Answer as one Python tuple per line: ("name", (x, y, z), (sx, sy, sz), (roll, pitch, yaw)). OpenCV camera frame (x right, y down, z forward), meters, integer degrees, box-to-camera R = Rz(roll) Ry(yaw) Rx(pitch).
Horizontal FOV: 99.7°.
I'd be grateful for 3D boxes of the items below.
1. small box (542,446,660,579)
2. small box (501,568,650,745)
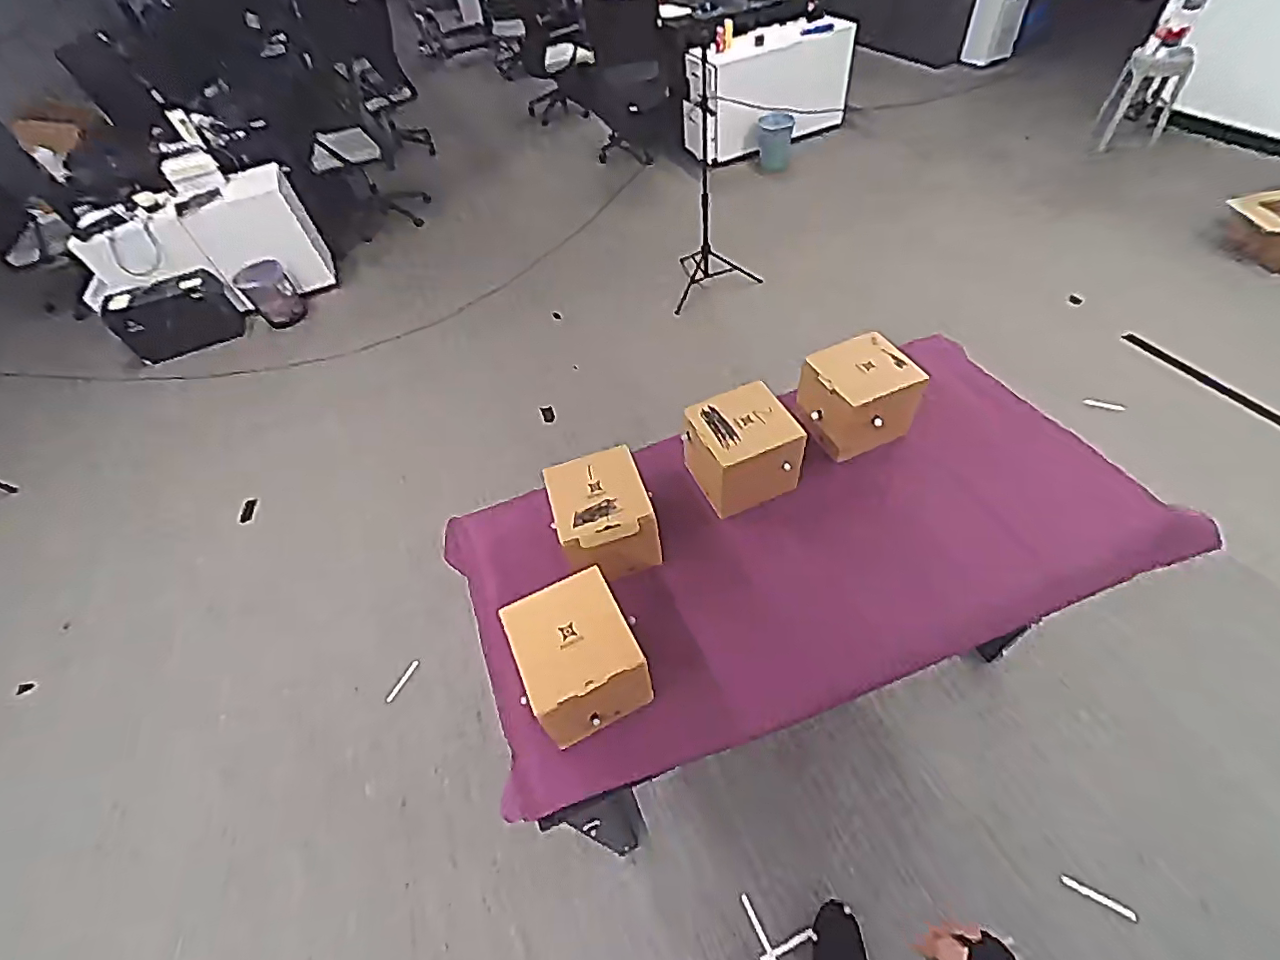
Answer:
("small box", (-0.068, 0.072, 1.001), (0.168, 0.176, 0.179), (-17, 51, -6))
("small box", (-0.096, 0.275, 0.838), (0.168, 0.176, 0.179), (-24, 53, -13))
